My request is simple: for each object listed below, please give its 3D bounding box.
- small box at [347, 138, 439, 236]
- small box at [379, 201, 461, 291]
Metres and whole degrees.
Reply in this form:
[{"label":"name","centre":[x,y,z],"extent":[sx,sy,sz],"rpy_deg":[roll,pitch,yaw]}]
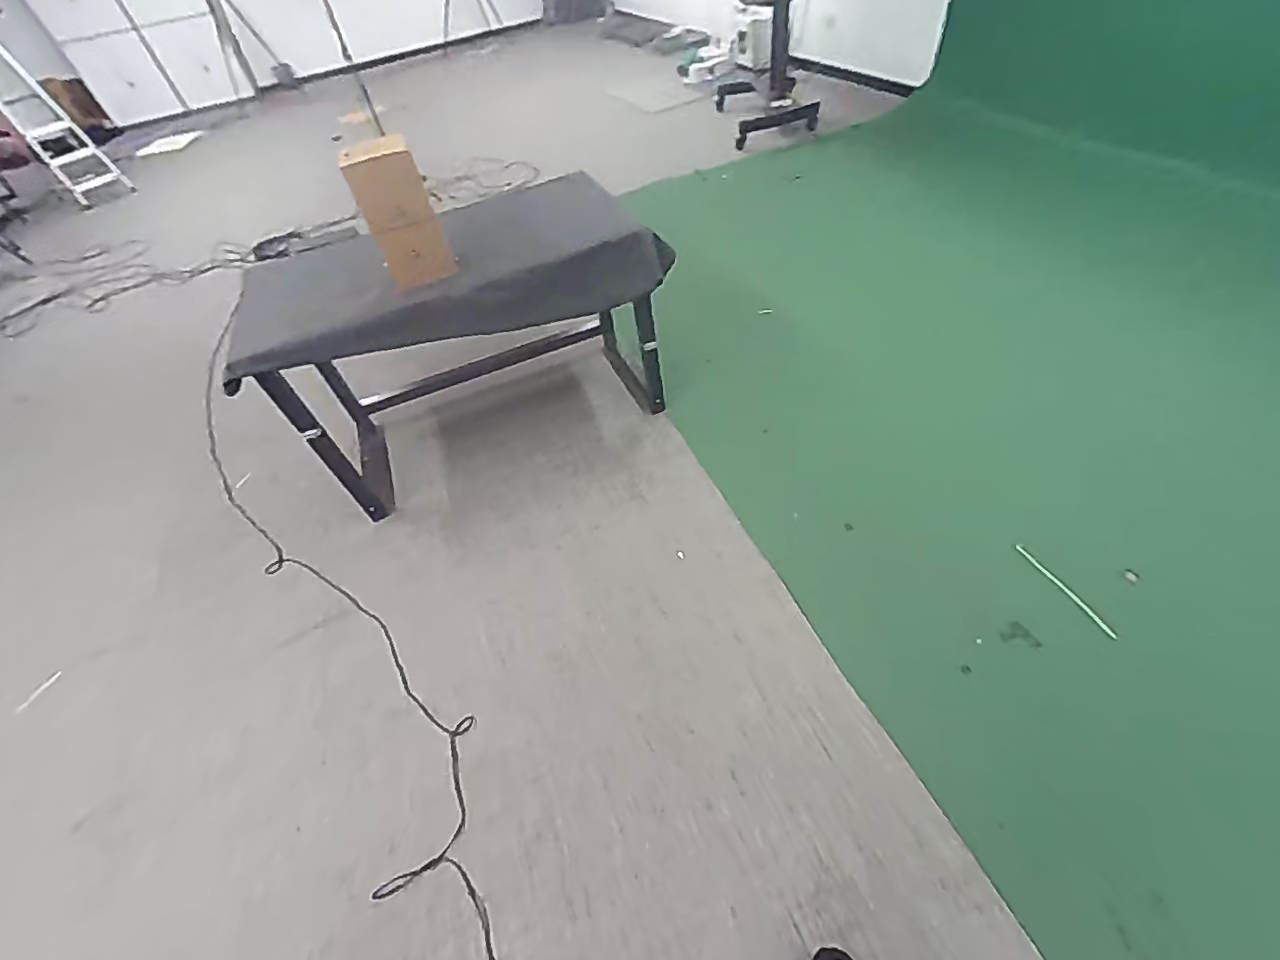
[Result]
[{"label":"small box","centre":[-0.652,-0.779,1.441],"extent":[0.179,0.176,0.168],"rpy_deg":[-20,48,-8]},{"label":"small box","centre":[-0.630,-0.676,1.562],"extent":[0.179,0.176,0.168],"rpy_deg":[-19,46,-7]}]
